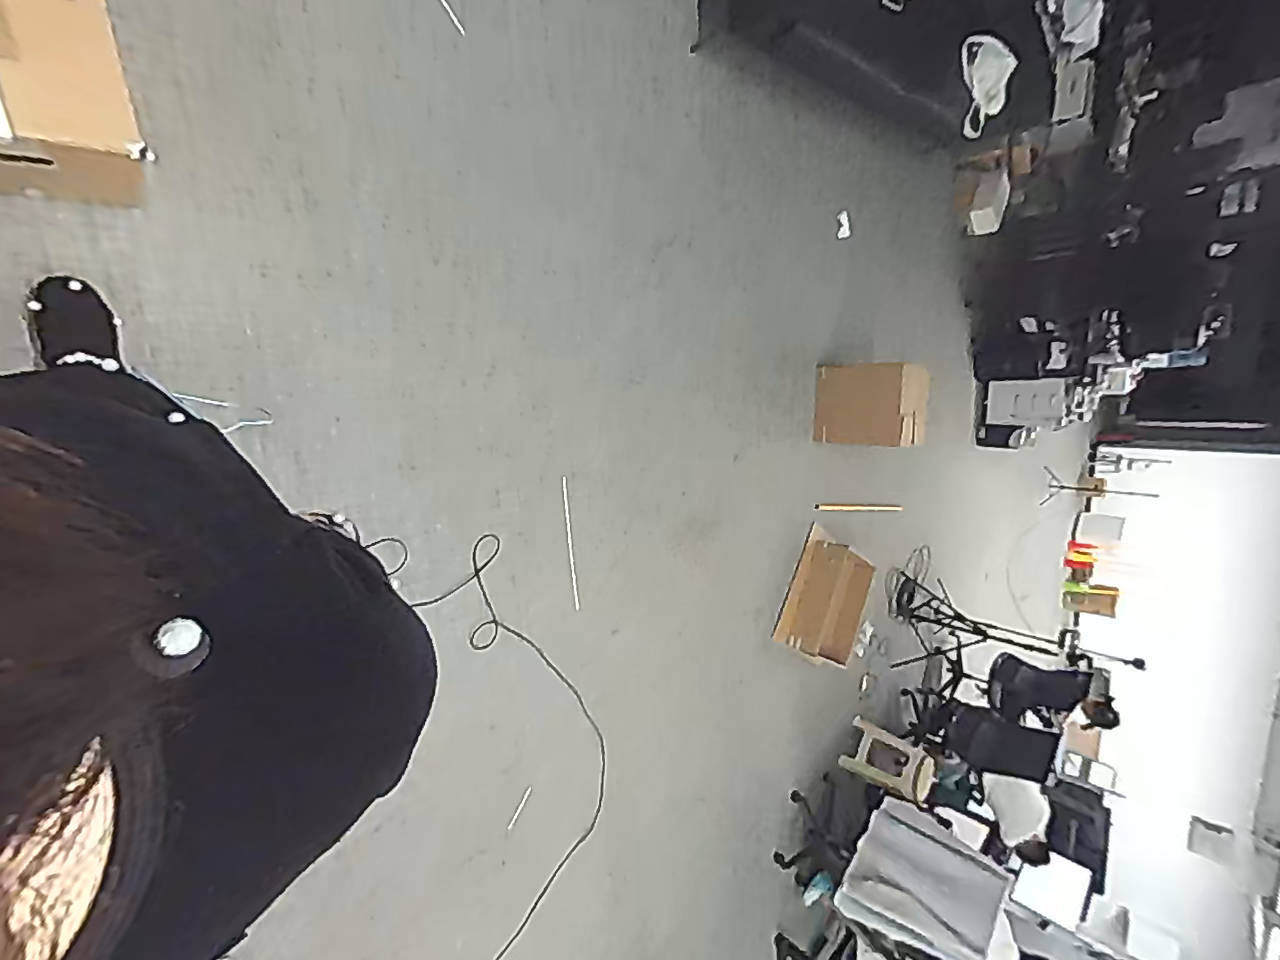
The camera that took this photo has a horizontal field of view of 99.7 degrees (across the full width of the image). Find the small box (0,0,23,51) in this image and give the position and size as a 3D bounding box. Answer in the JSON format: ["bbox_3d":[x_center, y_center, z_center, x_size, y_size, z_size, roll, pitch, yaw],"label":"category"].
[{"bbox_3d":[-0.881,-0.649,0.632,0.168,0.176,0.179,-19,109,-38],"label":"small box"}]
